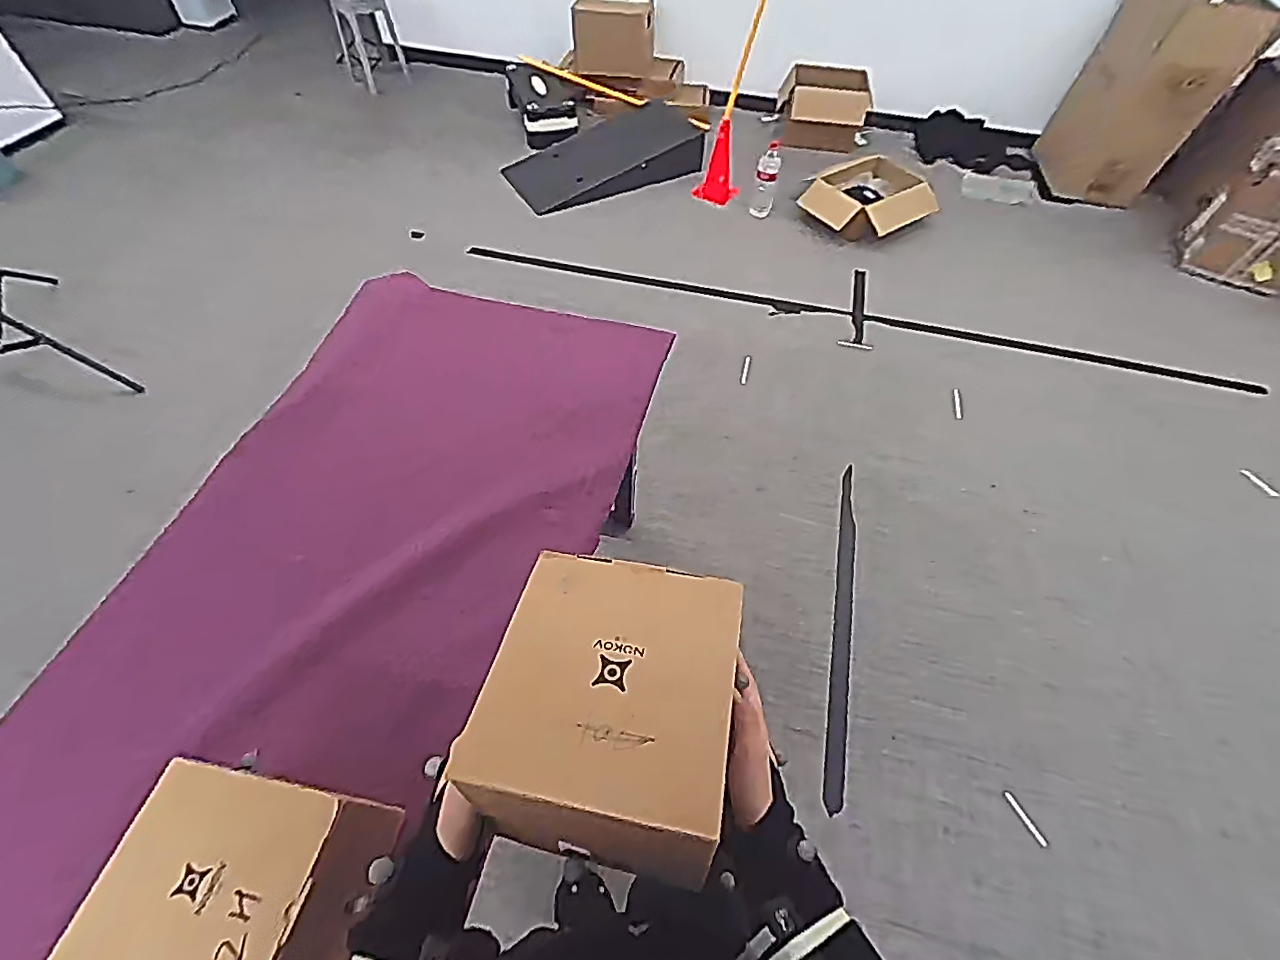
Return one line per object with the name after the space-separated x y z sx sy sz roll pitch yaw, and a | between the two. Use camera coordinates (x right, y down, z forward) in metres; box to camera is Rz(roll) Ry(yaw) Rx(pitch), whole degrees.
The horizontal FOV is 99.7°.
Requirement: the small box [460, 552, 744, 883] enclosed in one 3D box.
-0.014 0.186 0.431 0.168 0.176 0.179 7 46 9 | small box

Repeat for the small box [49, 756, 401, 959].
-0.368 0.386 0.521 0.179 0.176 0.168 10 56 5 | small box
